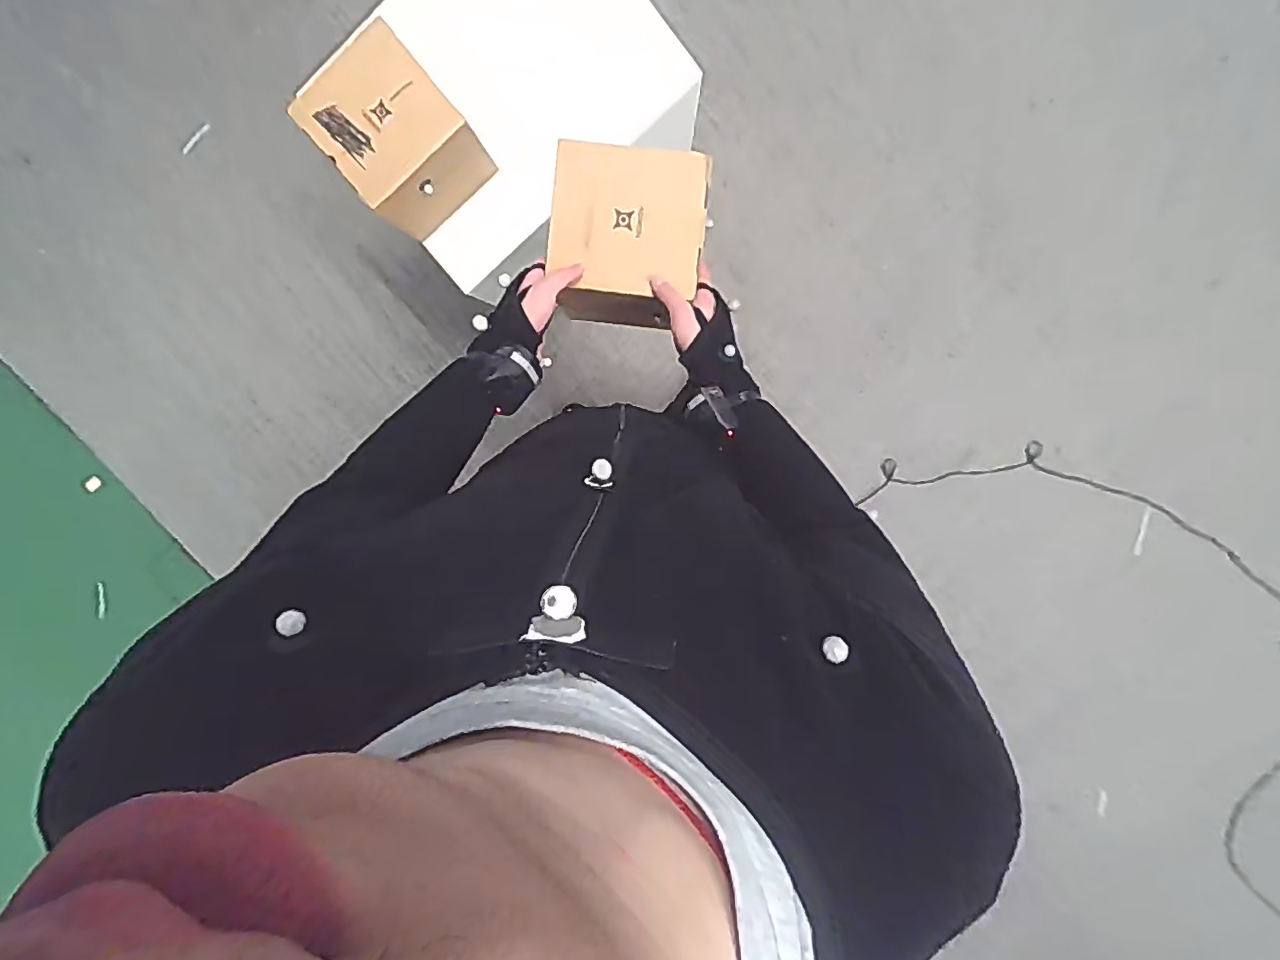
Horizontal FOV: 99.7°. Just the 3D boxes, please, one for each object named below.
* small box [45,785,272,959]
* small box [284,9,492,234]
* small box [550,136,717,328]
[{"bbox_3d":[-0.764,0.637,0.878,0.168,0.176,0.179,-36,99,8],"label":"small box"},{"bbox_3d":[-0.341,-0.486,0.771,0.179,0.176,0.168,-39,99,6],"label":"small box"},{"bbox_3d":[-0.007,-0.295,0.679,0.179,0.176,0.168,5,93,1],"label":"small box"}]
